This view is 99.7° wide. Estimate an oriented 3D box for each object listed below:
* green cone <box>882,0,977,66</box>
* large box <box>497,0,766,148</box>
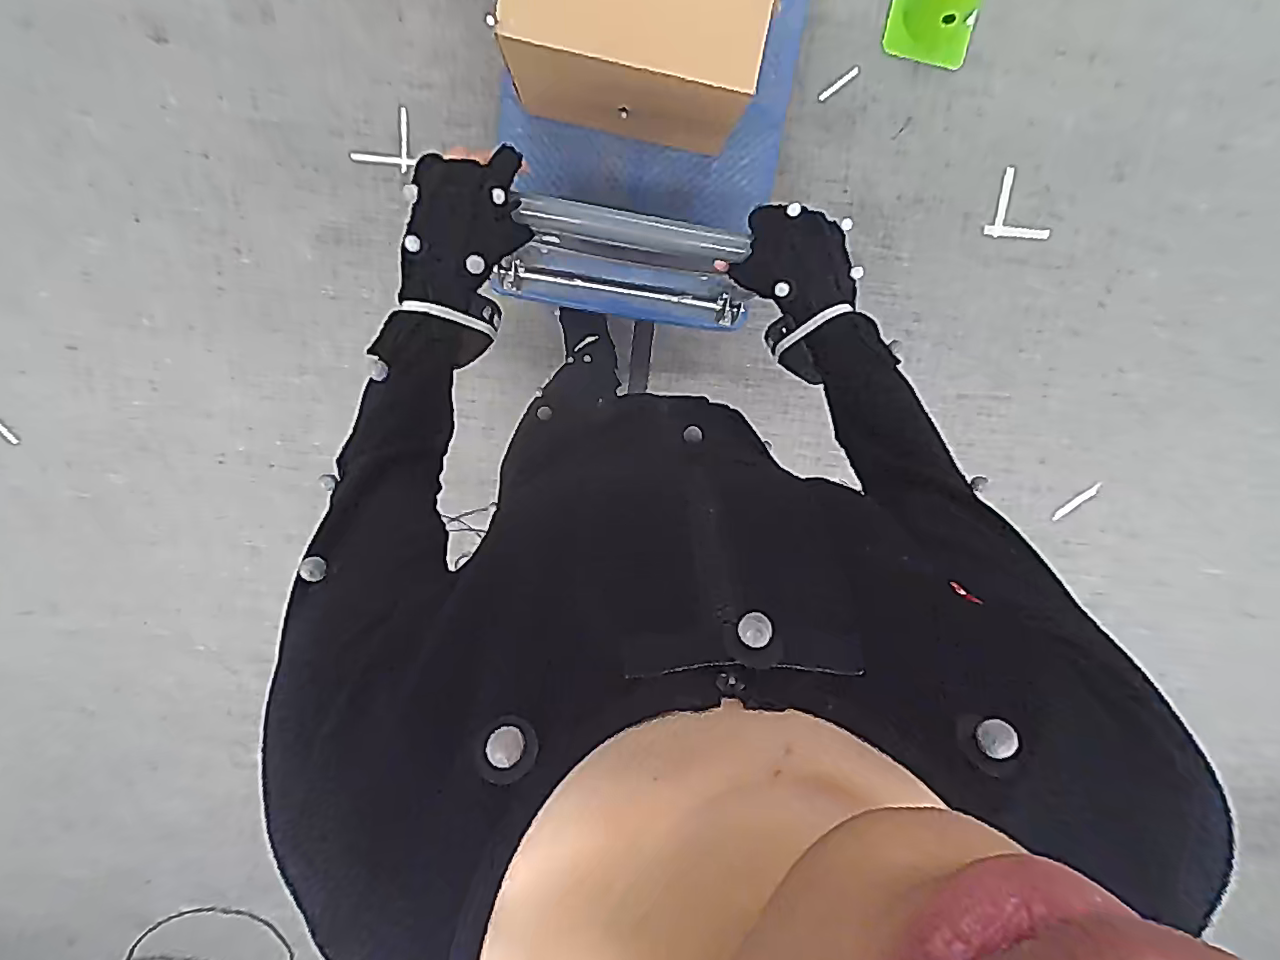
[{"bbox_3d":[0.678,-1.033,1.070,0.202,0.368,0.200,8,105,-7],"label":"green cone"},{"bbox_3d":[-0.003,-0.824,0.941,0.408,0.320,0.320,9,104,-5],"label":"large box"}]
